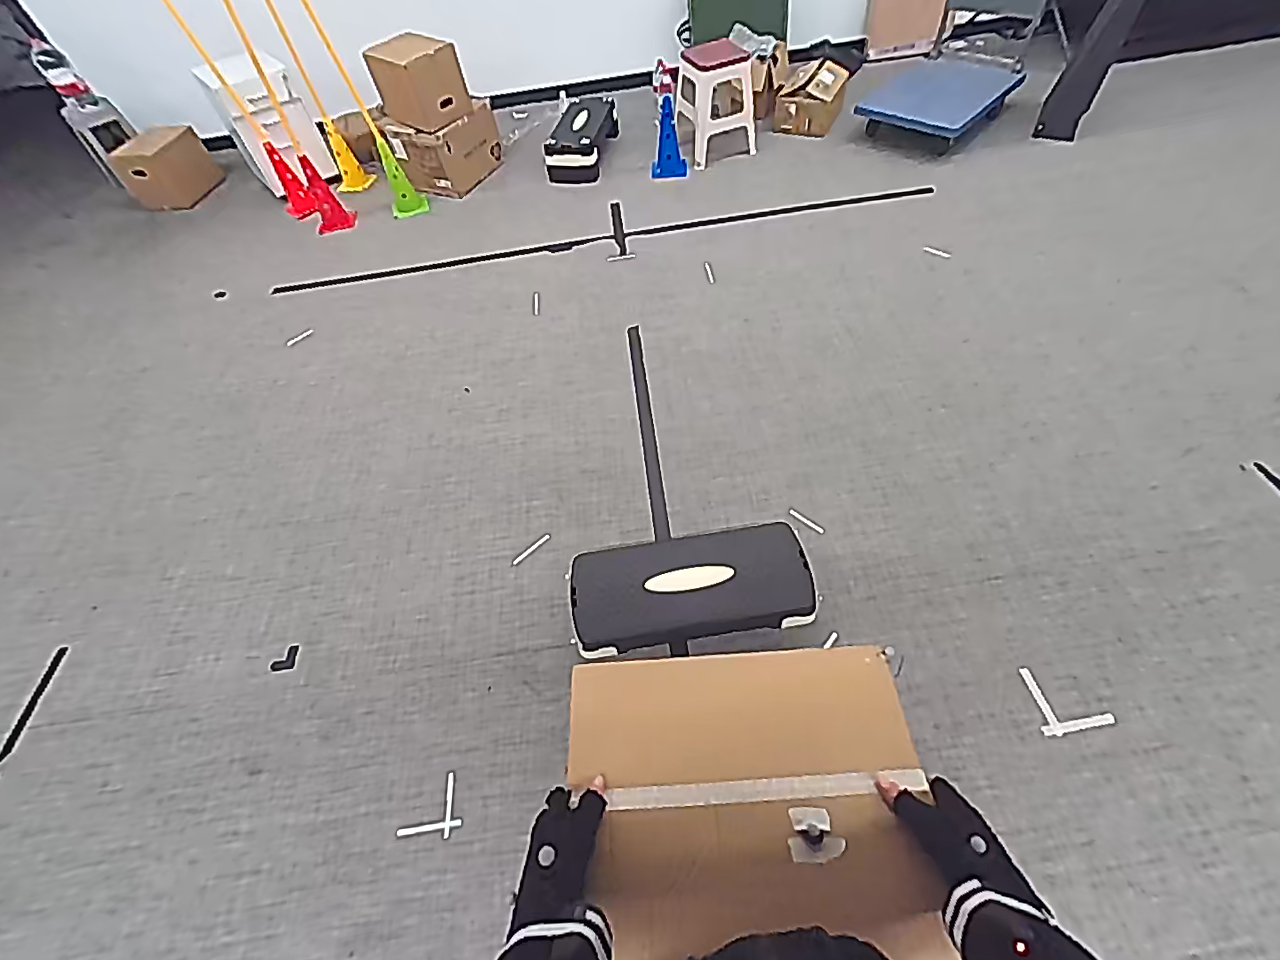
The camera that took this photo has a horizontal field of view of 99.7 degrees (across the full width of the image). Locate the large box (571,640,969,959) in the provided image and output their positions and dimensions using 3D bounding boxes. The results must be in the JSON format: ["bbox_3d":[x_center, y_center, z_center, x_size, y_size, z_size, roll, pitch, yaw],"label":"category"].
[{"bbox_3d":[0.130,0.440,0.740,0.408,0.320,0.320,-5,52,2],"label":"large box"}]
